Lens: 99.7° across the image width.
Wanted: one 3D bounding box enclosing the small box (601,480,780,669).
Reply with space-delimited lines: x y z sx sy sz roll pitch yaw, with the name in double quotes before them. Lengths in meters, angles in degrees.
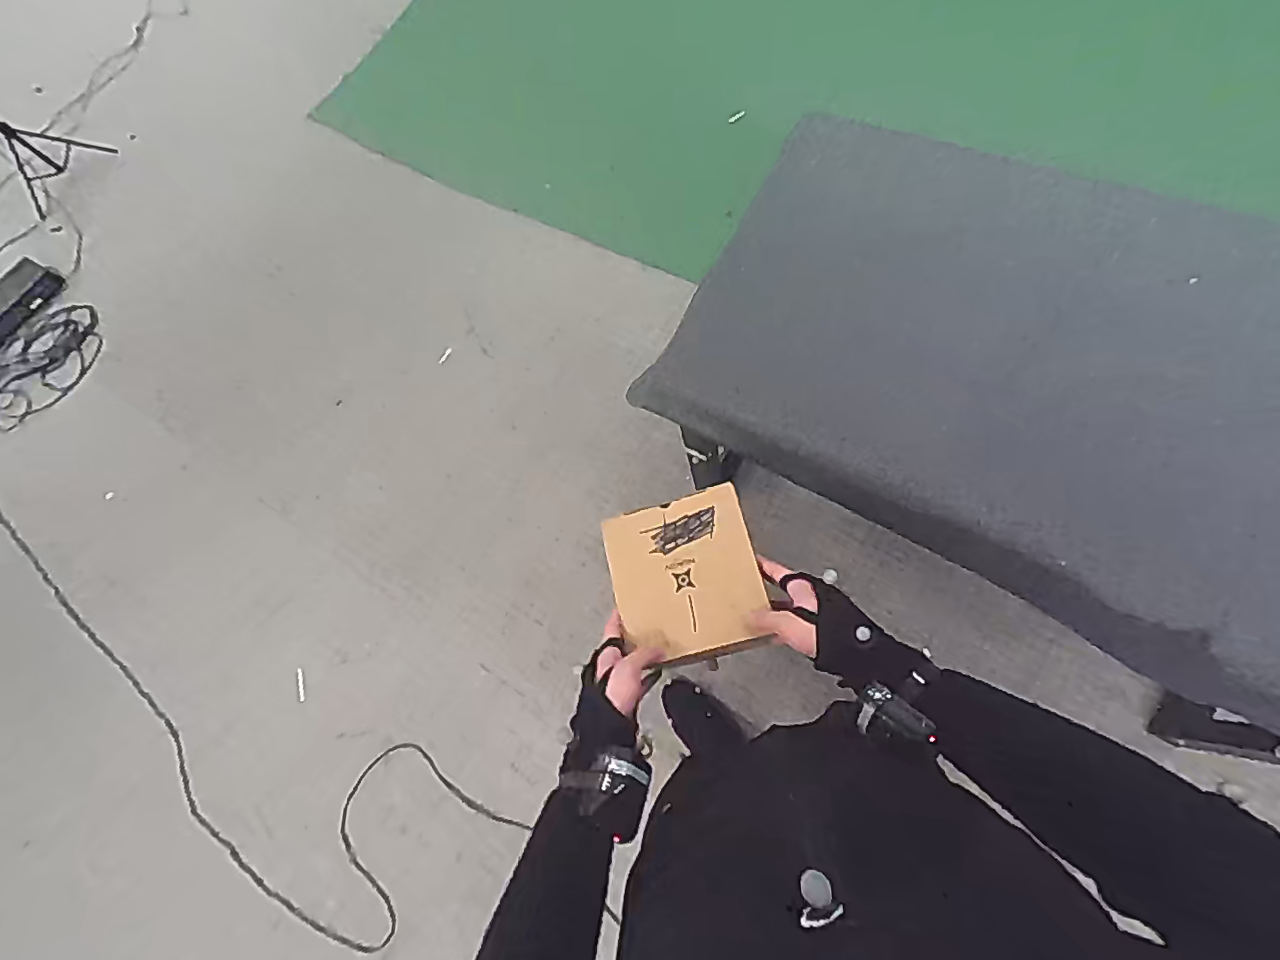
"small box" 0.065 0.125 0.662 0.168 0.176 0.179 -17 67 8
